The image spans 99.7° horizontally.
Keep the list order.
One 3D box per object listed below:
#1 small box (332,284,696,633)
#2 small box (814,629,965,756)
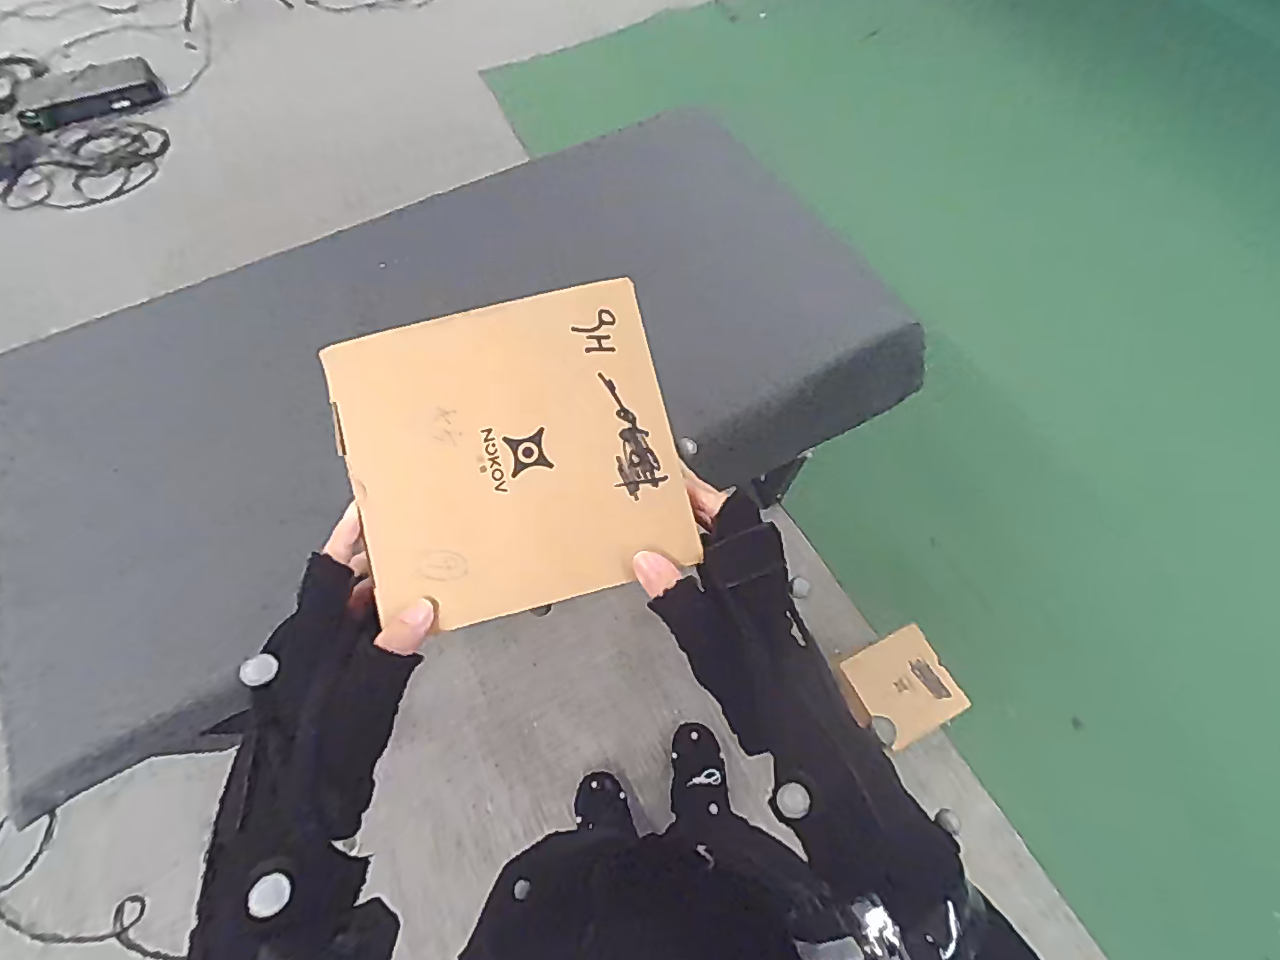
[{"bbox_3d":[-0.071,-0.007,0.374,0.179,0.176,0.168,-13,86,-2],"label":"small box"},{"bbox_3d":[0.471,0.412,1.052,0.179,0.176,0.168,-24,67,-10],"label":"small box"}]
